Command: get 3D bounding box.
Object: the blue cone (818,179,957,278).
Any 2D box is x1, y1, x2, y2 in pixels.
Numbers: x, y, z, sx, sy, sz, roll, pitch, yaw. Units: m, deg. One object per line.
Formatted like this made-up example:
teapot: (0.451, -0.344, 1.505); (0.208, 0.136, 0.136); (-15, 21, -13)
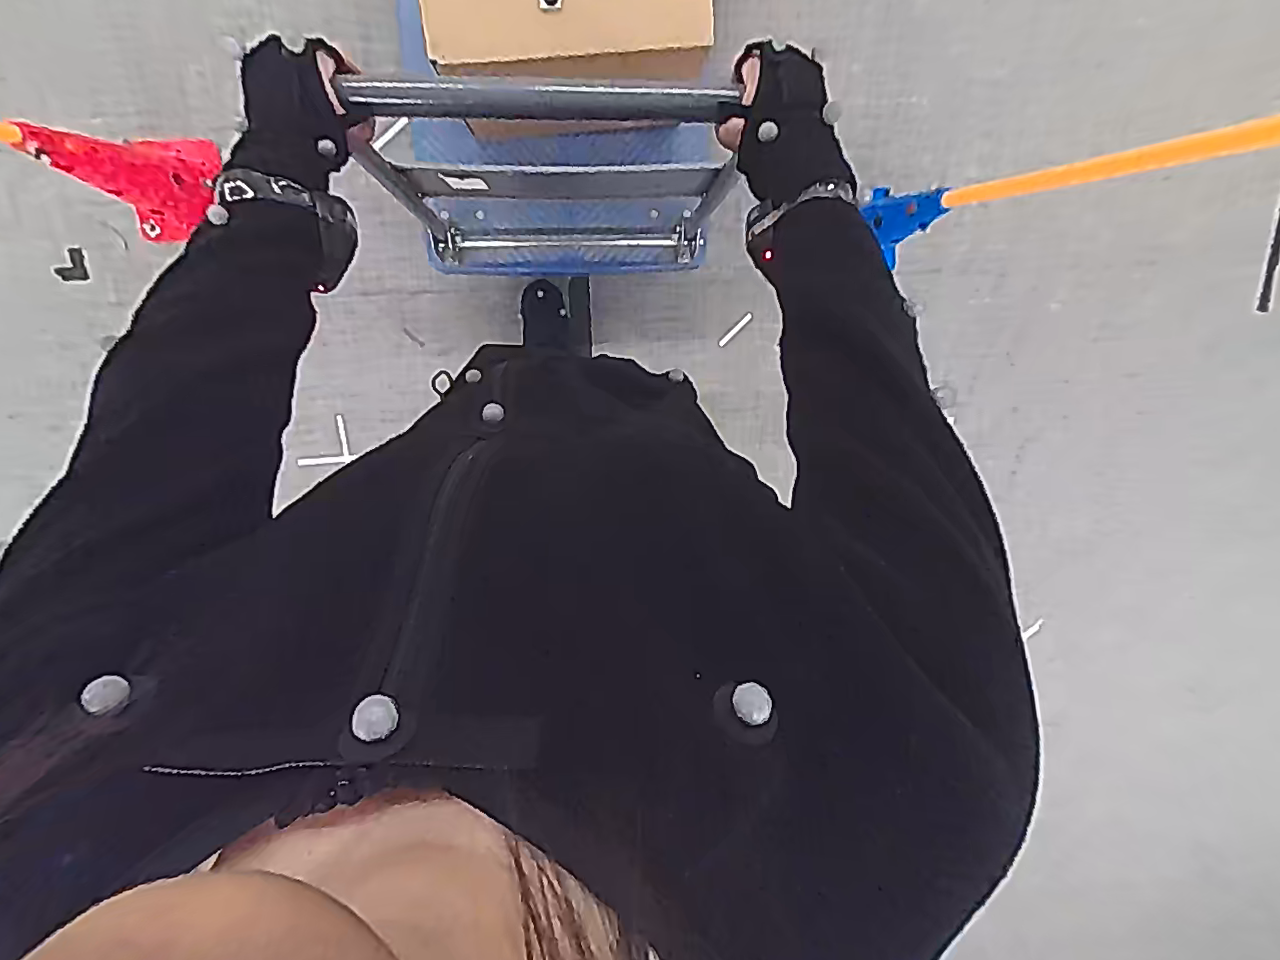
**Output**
blue cone: (0.546, -0.562, 1.165); (0.193, 0.380, 0.192); (-7, 104, -4)
